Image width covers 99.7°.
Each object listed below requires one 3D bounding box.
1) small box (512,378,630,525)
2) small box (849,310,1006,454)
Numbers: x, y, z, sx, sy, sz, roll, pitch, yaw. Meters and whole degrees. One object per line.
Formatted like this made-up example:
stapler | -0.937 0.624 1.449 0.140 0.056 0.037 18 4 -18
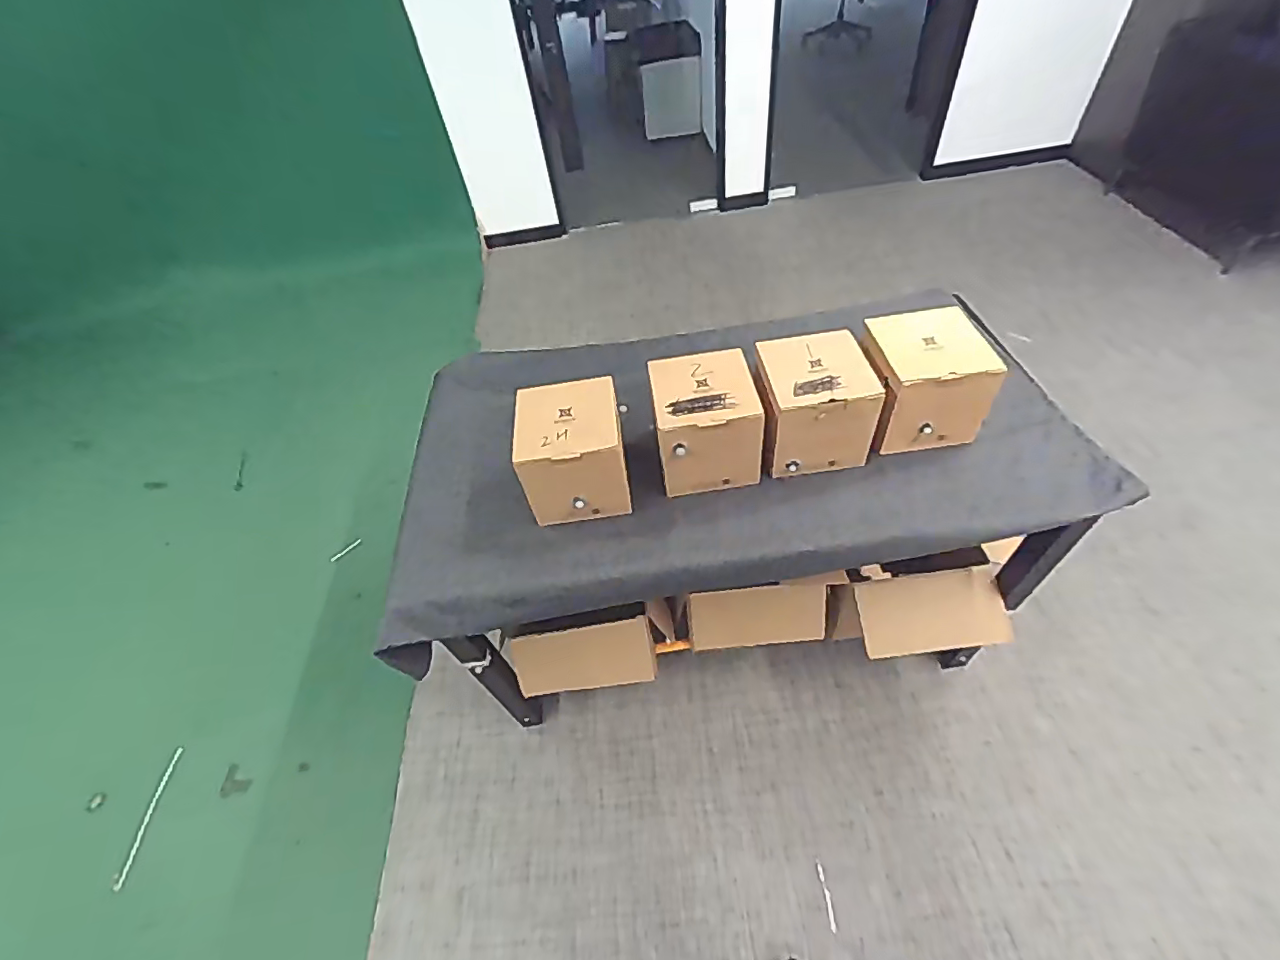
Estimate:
small box | -0.112 -0.048 0.928 0.168 0.176 0.179 -9 49 1
small box | 0.486 -0.170 0.950 0.168 0.176 0.179 -8 50 2
